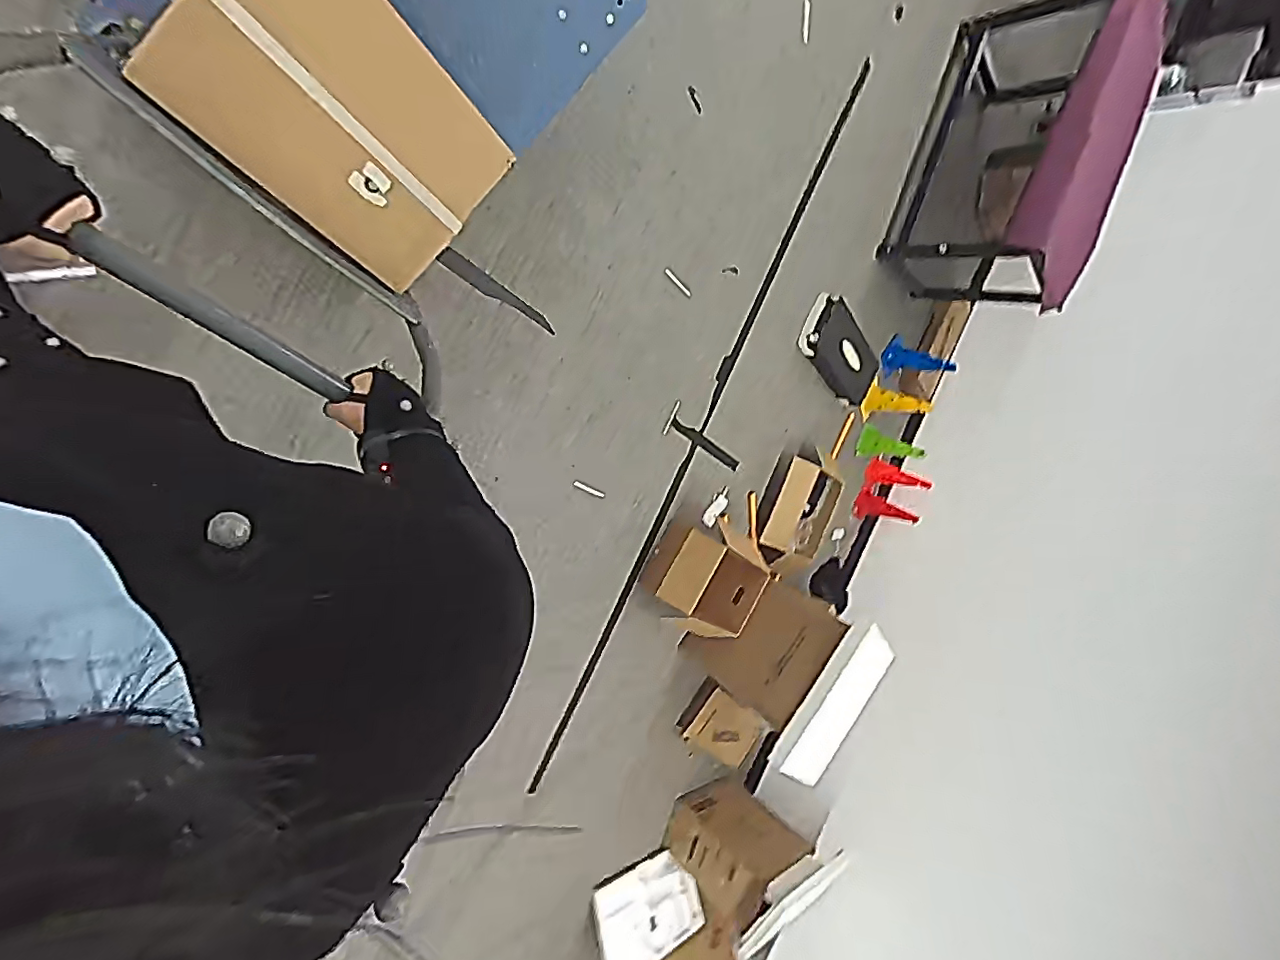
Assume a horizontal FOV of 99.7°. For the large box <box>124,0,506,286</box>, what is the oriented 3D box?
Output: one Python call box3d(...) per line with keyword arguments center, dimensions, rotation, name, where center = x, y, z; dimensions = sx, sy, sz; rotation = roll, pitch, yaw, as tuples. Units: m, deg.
box3d(center=(-0.515, -0.615, 0.908), dimensions=(0.320, 0.320, 0.408), rotation=(-46, 136, 4), name="large box")
